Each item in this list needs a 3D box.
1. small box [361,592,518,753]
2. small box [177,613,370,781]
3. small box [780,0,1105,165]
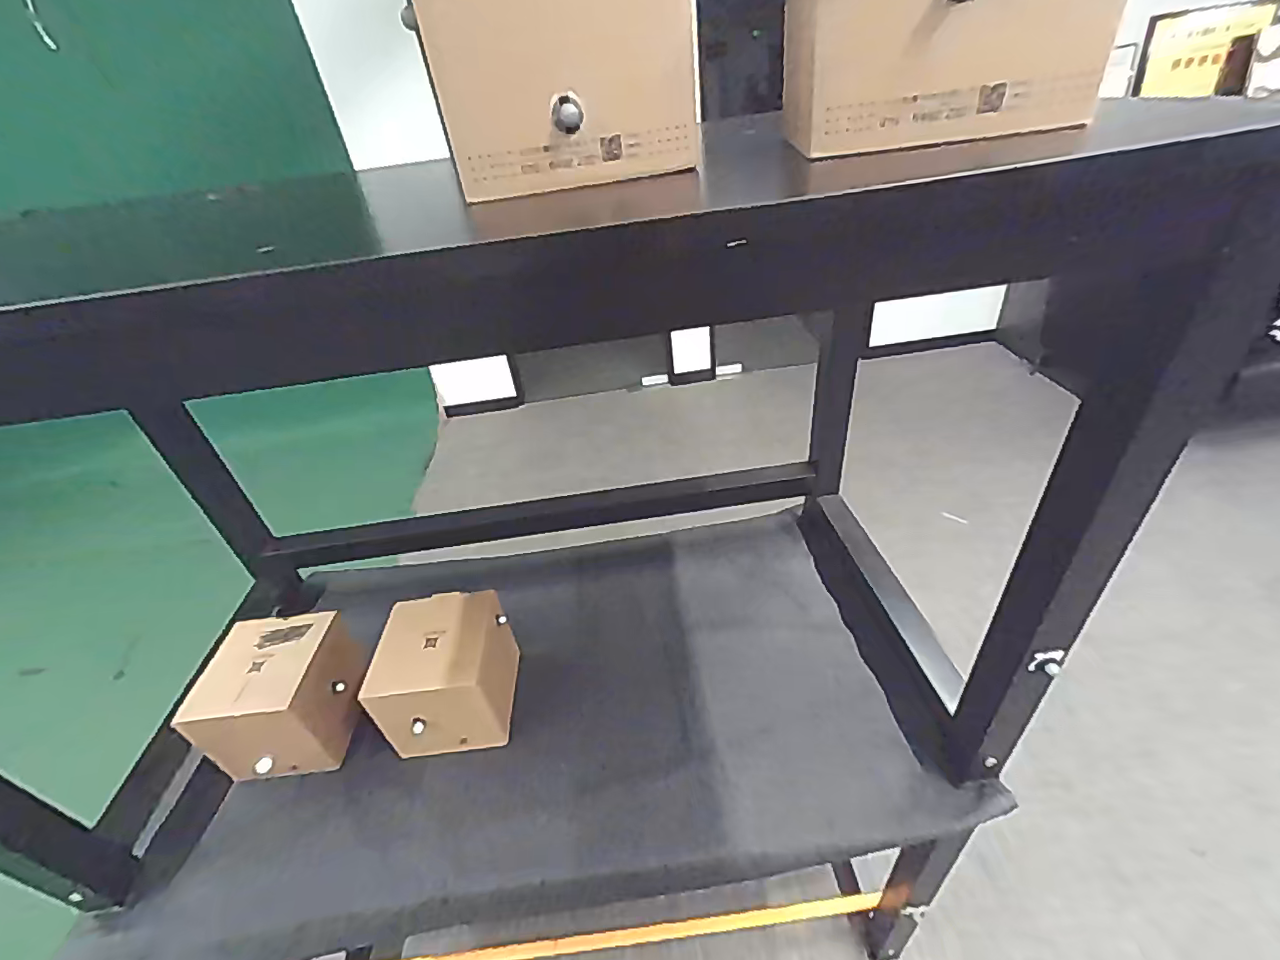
[{"bbox_3d":[-0.298,0.306,0.850,0.168,0.176,0.179,-7,35,0],"label":"small box"},{"bbox_3d":[-0.549,0.338,0.848,0.168,0.176,0.179,-8,36,1],"label":"small box"},{"bbox_3d":[0.187,-0.320,0.363,0.168,0.176,0.179,-1,36,9],"label":"small box"}]
